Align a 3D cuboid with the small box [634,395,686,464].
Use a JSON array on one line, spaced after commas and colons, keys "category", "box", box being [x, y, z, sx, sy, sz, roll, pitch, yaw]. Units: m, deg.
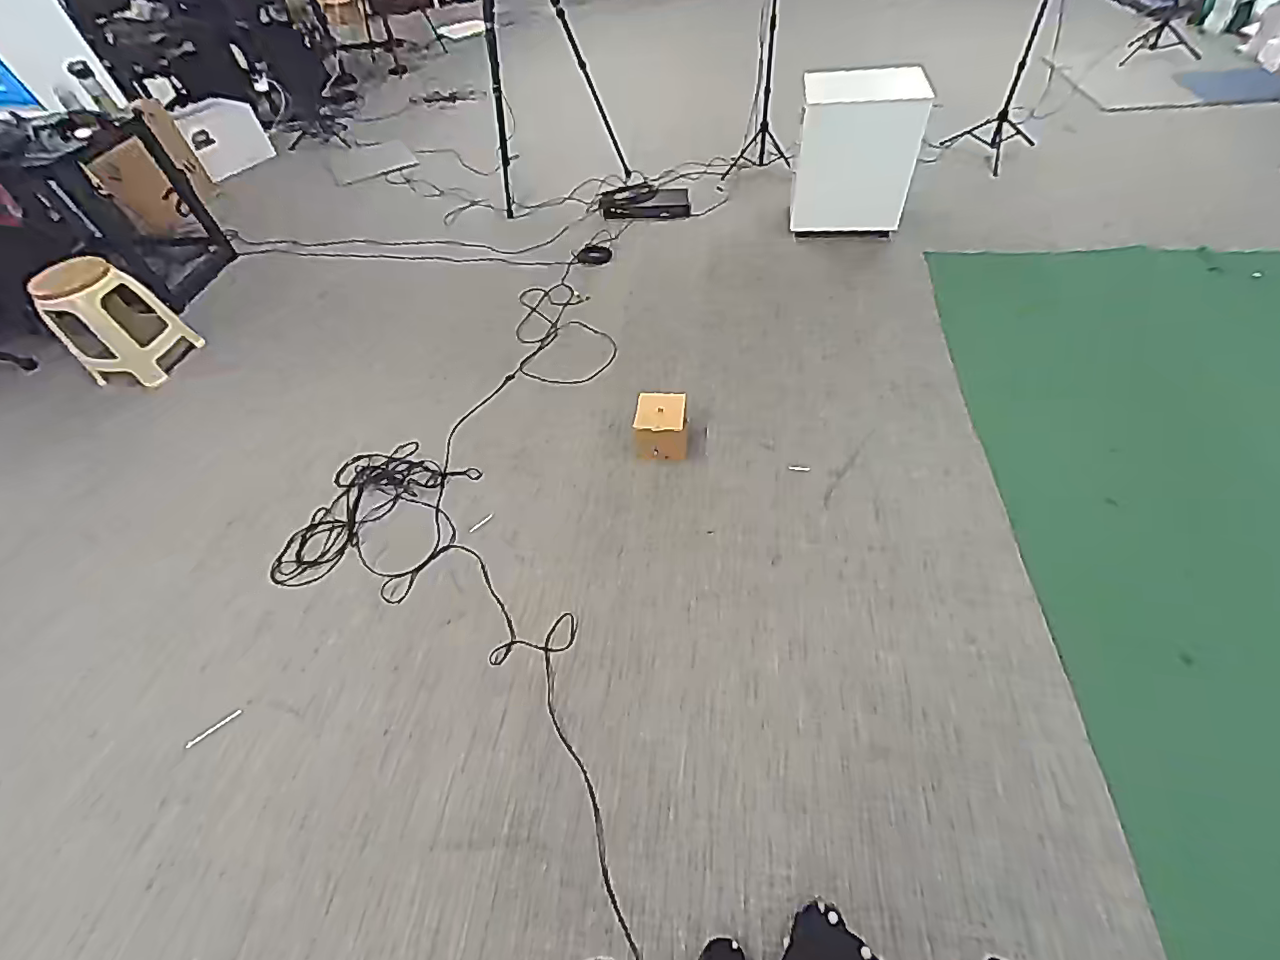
[{"category": "small box", "box": [0.076, -0.180, 1.918, 0.168, 0.176, 0.179, 2, 52, 9]}]
